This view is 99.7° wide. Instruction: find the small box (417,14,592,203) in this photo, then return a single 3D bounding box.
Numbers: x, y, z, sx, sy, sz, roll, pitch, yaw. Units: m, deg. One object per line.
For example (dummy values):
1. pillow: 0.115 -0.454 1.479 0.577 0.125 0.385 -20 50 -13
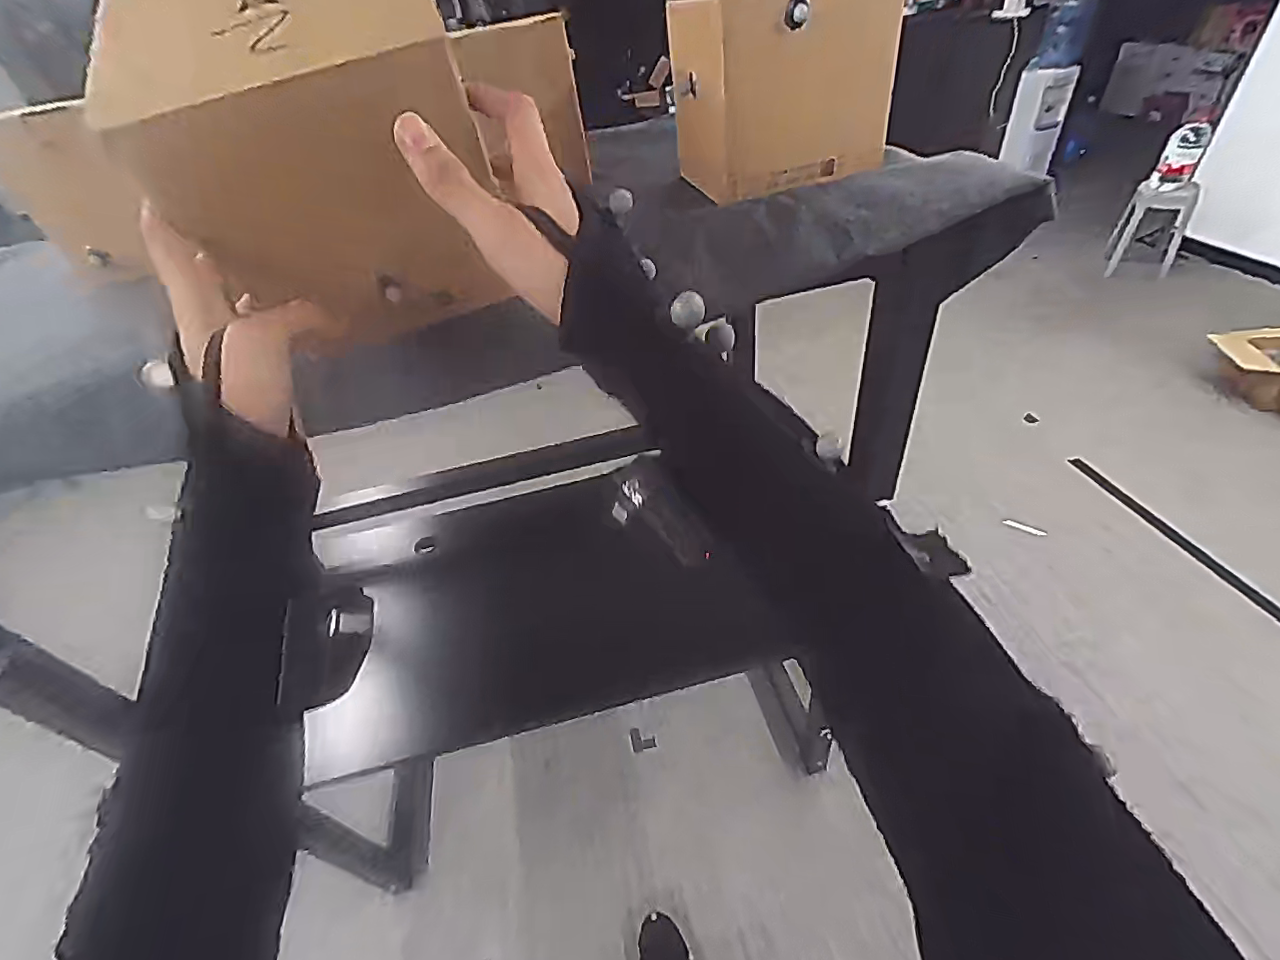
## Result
1. small box: -0.164 -0.475 0.695 0.168 0.176 0.179 -13 42 -3
